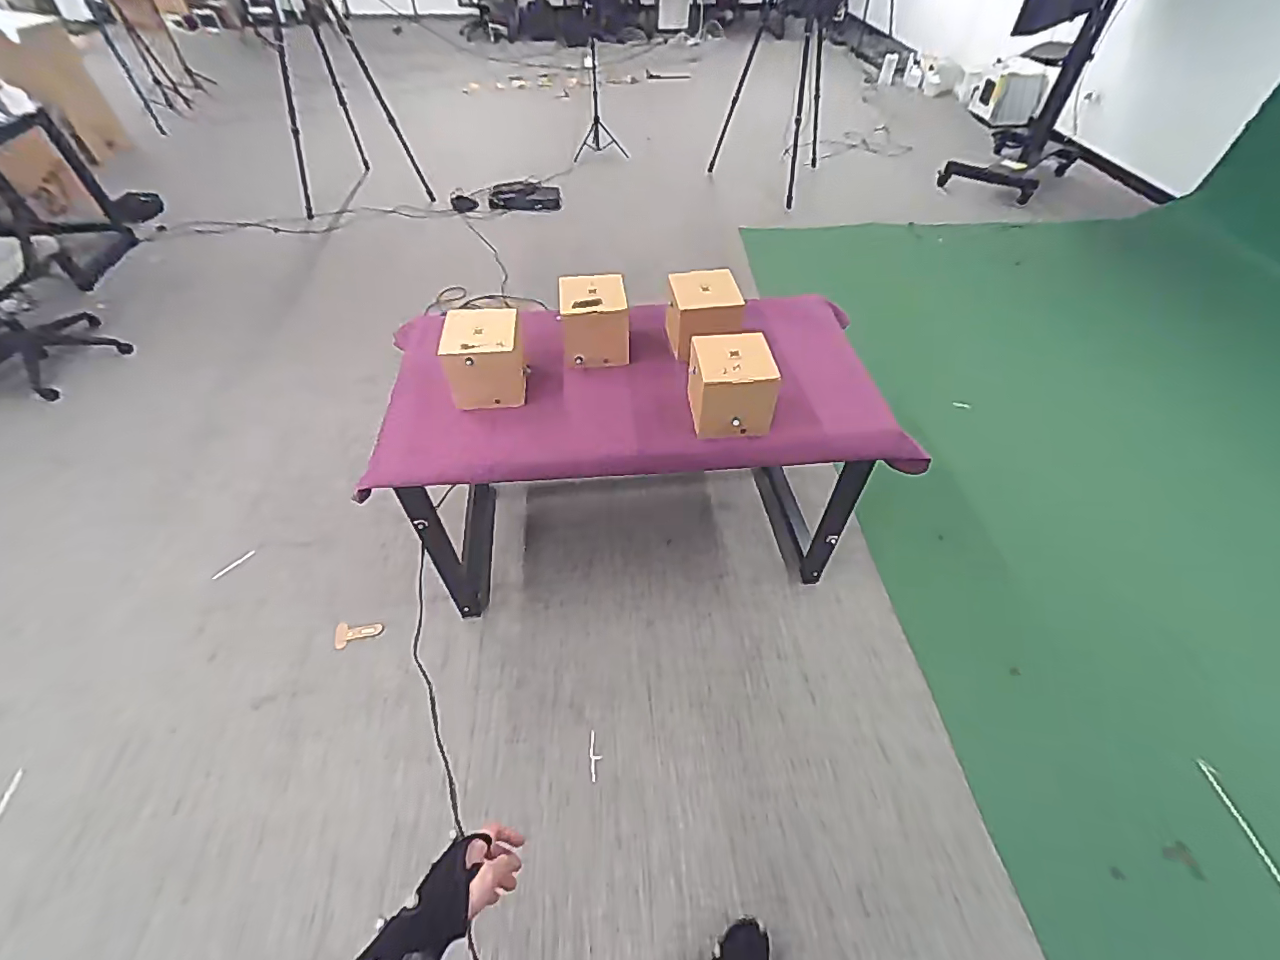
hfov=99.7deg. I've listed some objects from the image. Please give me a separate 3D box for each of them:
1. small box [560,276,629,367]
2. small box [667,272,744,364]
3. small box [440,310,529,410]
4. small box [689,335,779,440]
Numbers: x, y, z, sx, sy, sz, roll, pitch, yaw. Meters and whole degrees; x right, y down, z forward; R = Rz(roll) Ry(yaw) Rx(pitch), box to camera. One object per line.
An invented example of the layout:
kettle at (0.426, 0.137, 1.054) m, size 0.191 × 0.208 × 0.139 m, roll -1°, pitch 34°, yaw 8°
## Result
small box at (-0.119, -0.409, 1.416) m, size 0.168 × 0.176 × 0.179 m, roll -5°, pitch 49°, yaw -5°
small box at (0.165, -0.429, 1.437) m, size 0.168 × 0.176 × 0.179 m, roll -6°, pitch 51°, yaw -4°
small box at (-0.368, -0.290, 1.310) m, size 0.168 × 0.176 × 0.179 m, roll -5°, pitch 49°, yaw -3°
small box at (0.207, -0.213, 1.246) m, size 0.168 × 0.176 × 0.179 m, roll -4°, pitch 48°, yaw -3°
